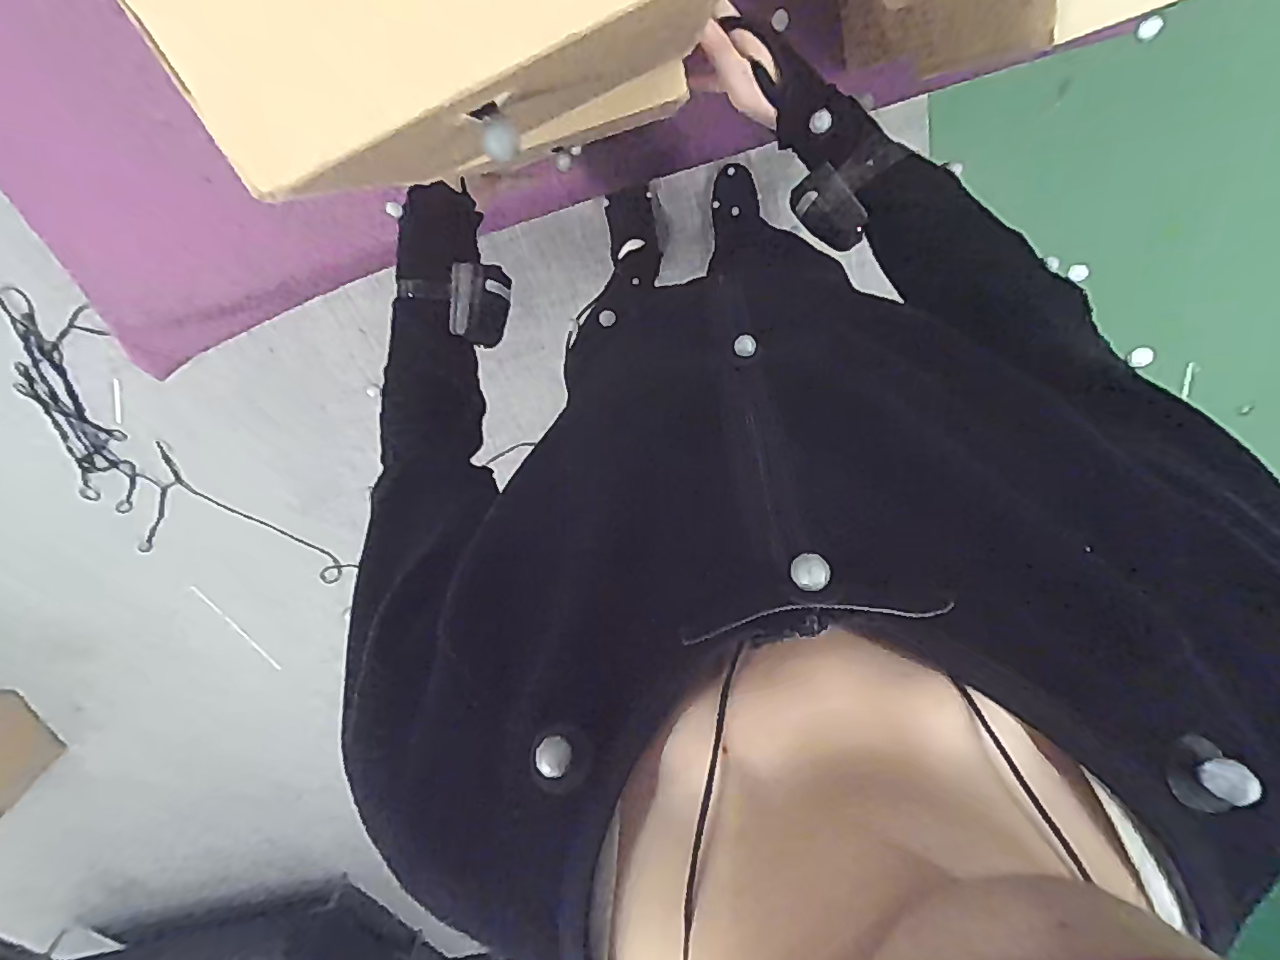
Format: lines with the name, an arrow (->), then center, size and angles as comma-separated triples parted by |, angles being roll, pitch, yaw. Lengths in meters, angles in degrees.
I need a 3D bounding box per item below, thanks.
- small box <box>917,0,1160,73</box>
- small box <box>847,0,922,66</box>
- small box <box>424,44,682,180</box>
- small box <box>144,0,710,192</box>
small box -> 0.270, -0.367, 0.302 | 0.168, 0.176, 0.179 | -15, 120, 10
small box -> 0.270, -0.467, 0.434 | 0.179, 0.176, 0.168 | -17, 120, 10
small box -> -0.072, -0.312, 0.342 | 0.168, 0.176, 0.179 | -13, 120, 8
small box -> -0.077, -0.232, 0.200 | 0.179, 0.176, 0.168 | -18, 120, 12
